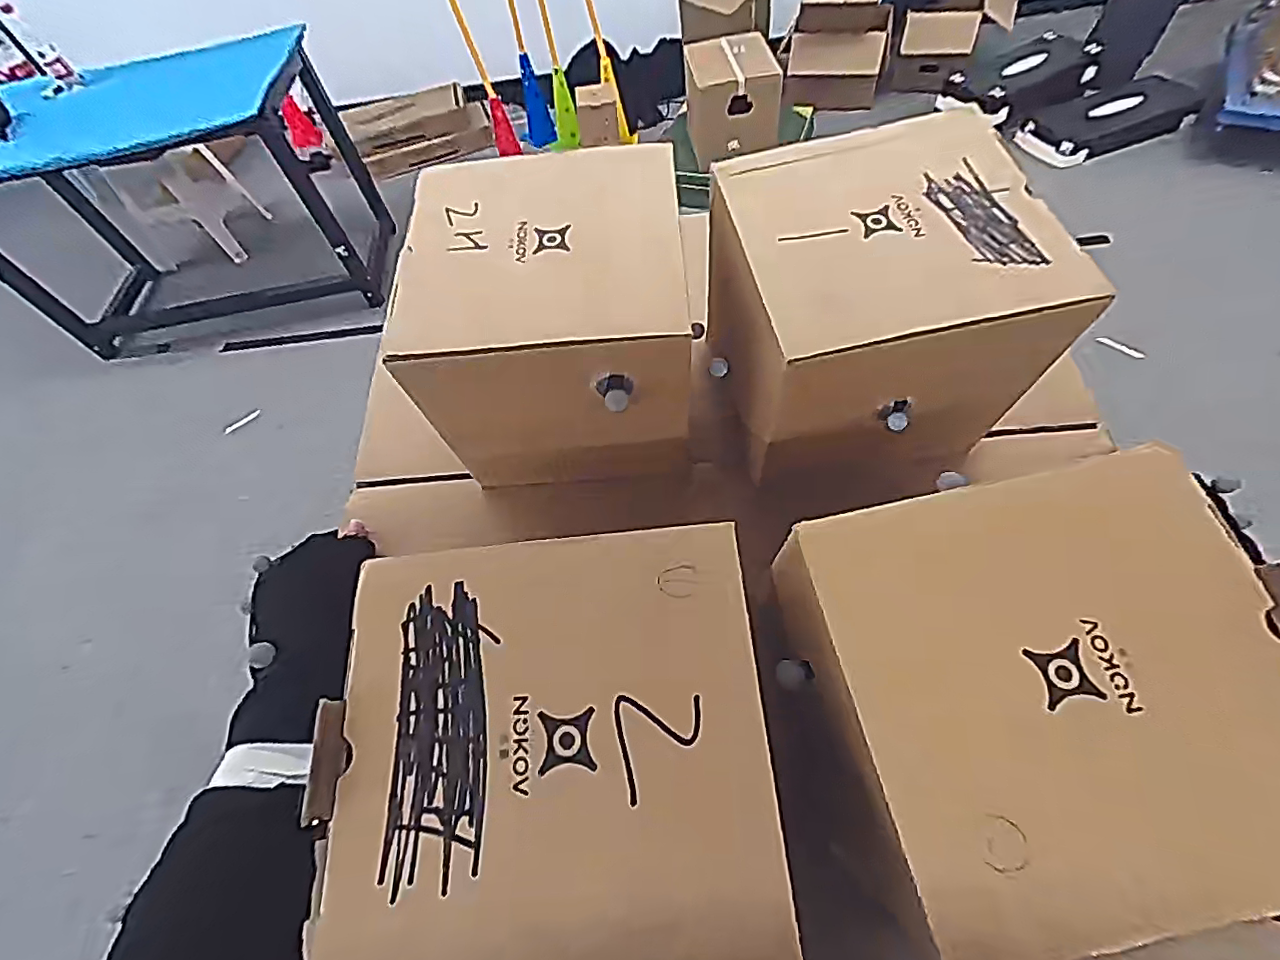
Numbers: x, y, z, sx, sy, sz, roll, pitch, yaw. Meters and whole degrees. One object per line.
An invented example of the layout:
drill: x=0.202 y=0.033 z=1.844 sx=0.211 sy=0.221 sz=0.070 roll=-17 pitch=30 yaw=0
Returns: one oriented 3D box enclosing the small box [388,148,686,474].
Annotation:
small box: x=-0.057 y=-0.116 z=0.415 sx=0.179 sy=0.176 sz=0.168 roll=-4 pitch=63 yaw=4
